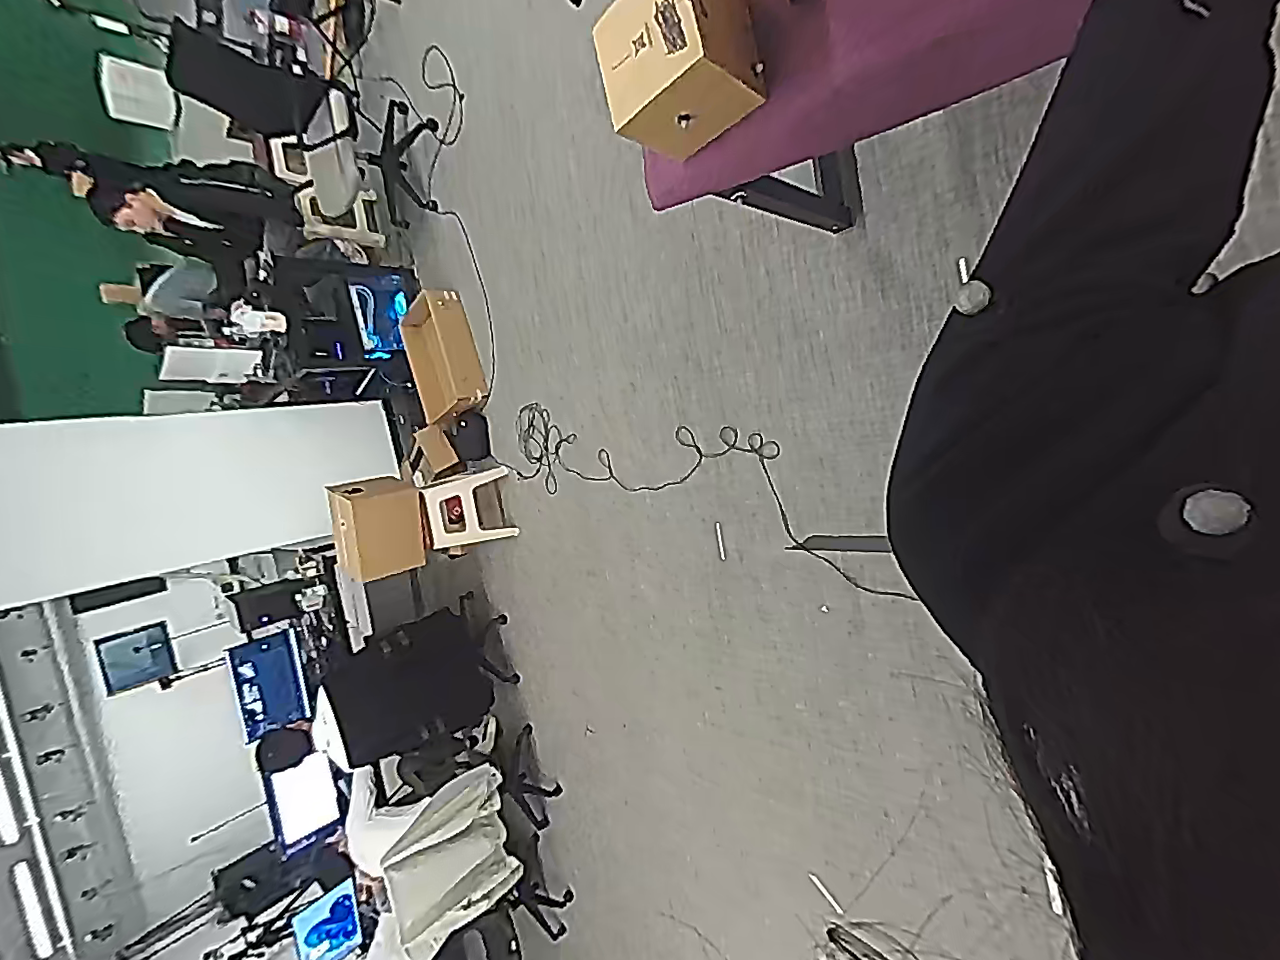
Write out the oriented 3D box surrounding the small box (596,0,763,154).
[{"bbox_3d":[0.066,-0.630,0.809,0.179,0.176,0.168,-13,90,45],"label":"small box"}]
